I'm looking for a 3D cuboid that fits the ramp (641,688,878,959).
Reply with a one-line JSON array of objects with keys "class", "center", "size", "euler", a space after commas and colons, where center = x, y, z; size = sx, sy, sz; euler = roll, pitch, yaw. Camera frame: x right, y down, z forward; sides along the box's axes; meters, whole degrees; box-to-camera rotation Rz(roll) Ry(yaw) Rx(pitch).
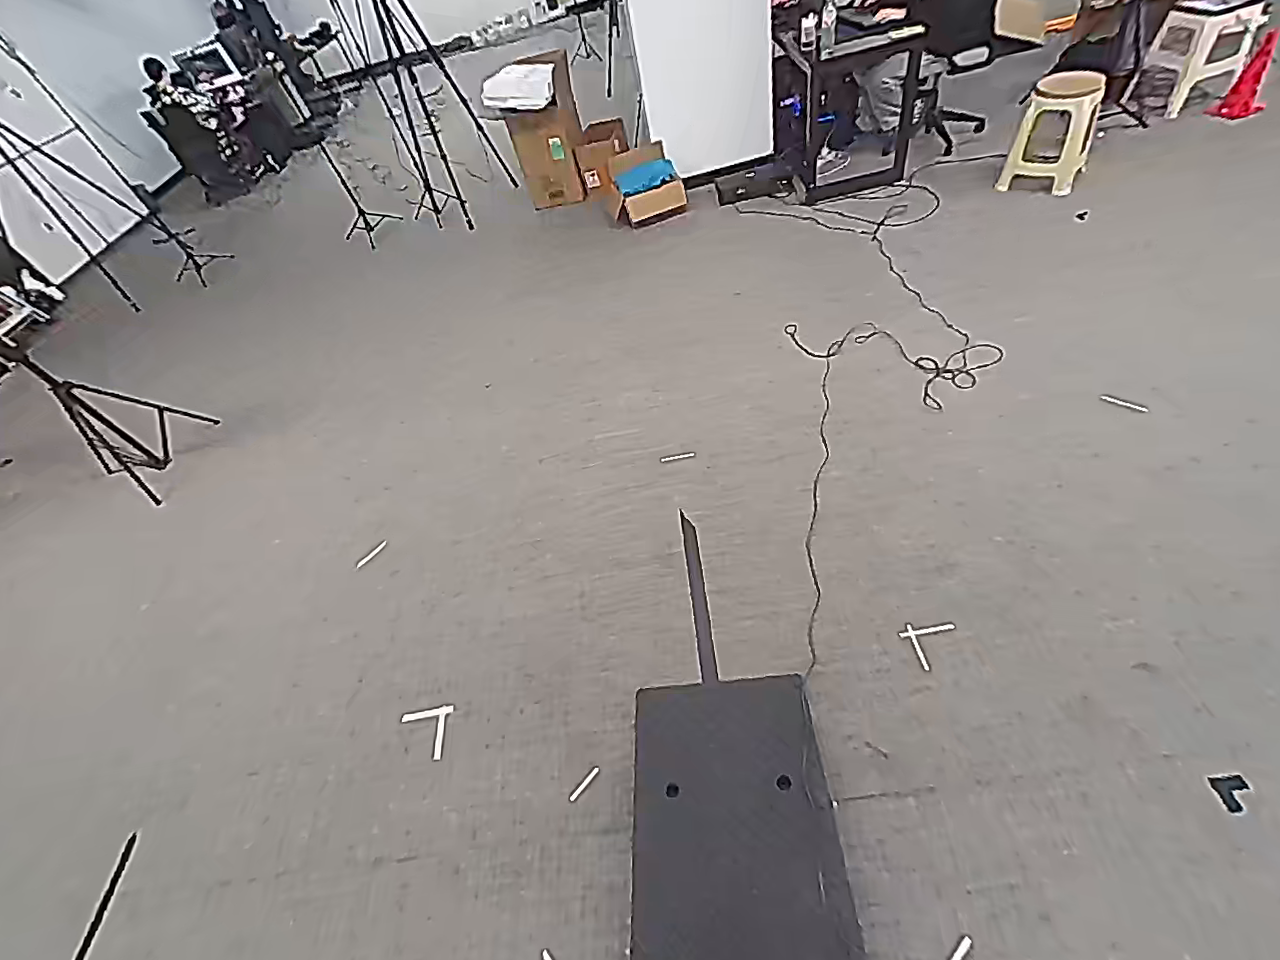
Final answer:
[{"class": "ramp", "center": [0.242, 0.949, 1.203], "size": [0.509, 0.206, 0.991], "euler": [-12, 46, 7]}]
